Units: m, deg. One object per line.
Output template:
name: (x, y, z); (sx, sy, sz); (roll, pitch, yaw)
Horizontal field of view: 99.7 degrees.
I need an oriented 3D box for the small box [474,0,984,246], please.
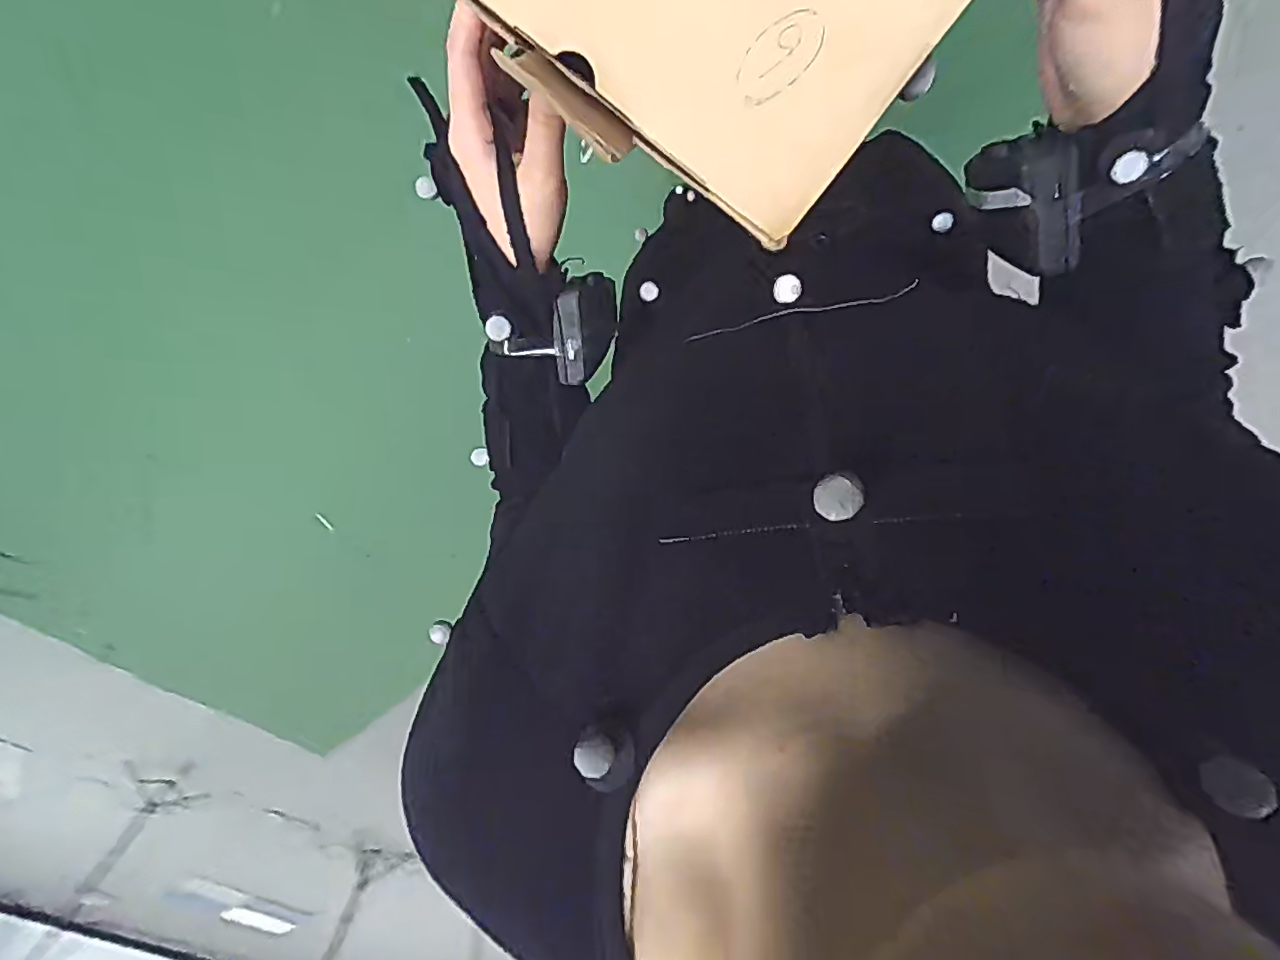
small box: (0.050, -0.222, 0.206); (0.168, 0.176, 0.179); (36, 120, -9)
